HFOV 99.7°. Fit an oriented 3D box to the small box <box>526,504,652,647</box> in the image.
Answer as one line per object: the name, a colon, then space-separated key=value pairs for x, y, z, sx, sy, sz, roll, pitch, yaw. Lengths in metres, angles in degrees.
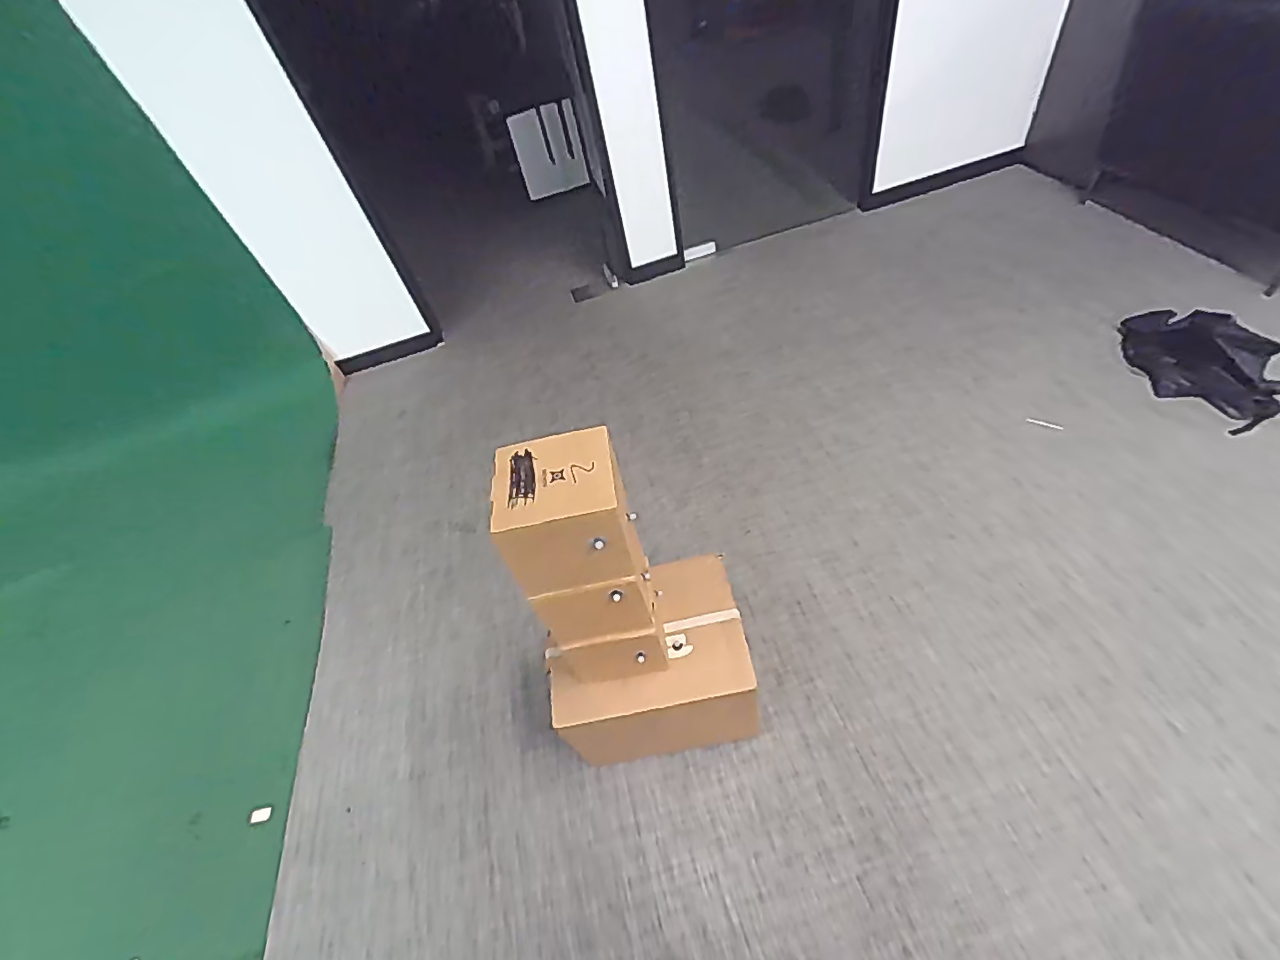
small box: x=-0.086 y=0.170 z=0.938 sx=0.179 sy=0.176 sz=0.168 roll=-12 pitch=47 yaw=2

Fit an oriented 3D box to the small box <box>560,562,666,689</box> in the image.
small box: x=-0.049 y=0.285 z=1.048 sx=0.179 sy=0.176 sz=0.168 roll=-13 pitch=47 yaw=3

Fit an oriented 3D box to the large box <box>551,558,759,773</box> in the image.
large box: x=0.032 y=0.427 z=1.231 sx=0.408 sy=0.320 sz=0.320 roll=-12 pitch=49 yaw=1
